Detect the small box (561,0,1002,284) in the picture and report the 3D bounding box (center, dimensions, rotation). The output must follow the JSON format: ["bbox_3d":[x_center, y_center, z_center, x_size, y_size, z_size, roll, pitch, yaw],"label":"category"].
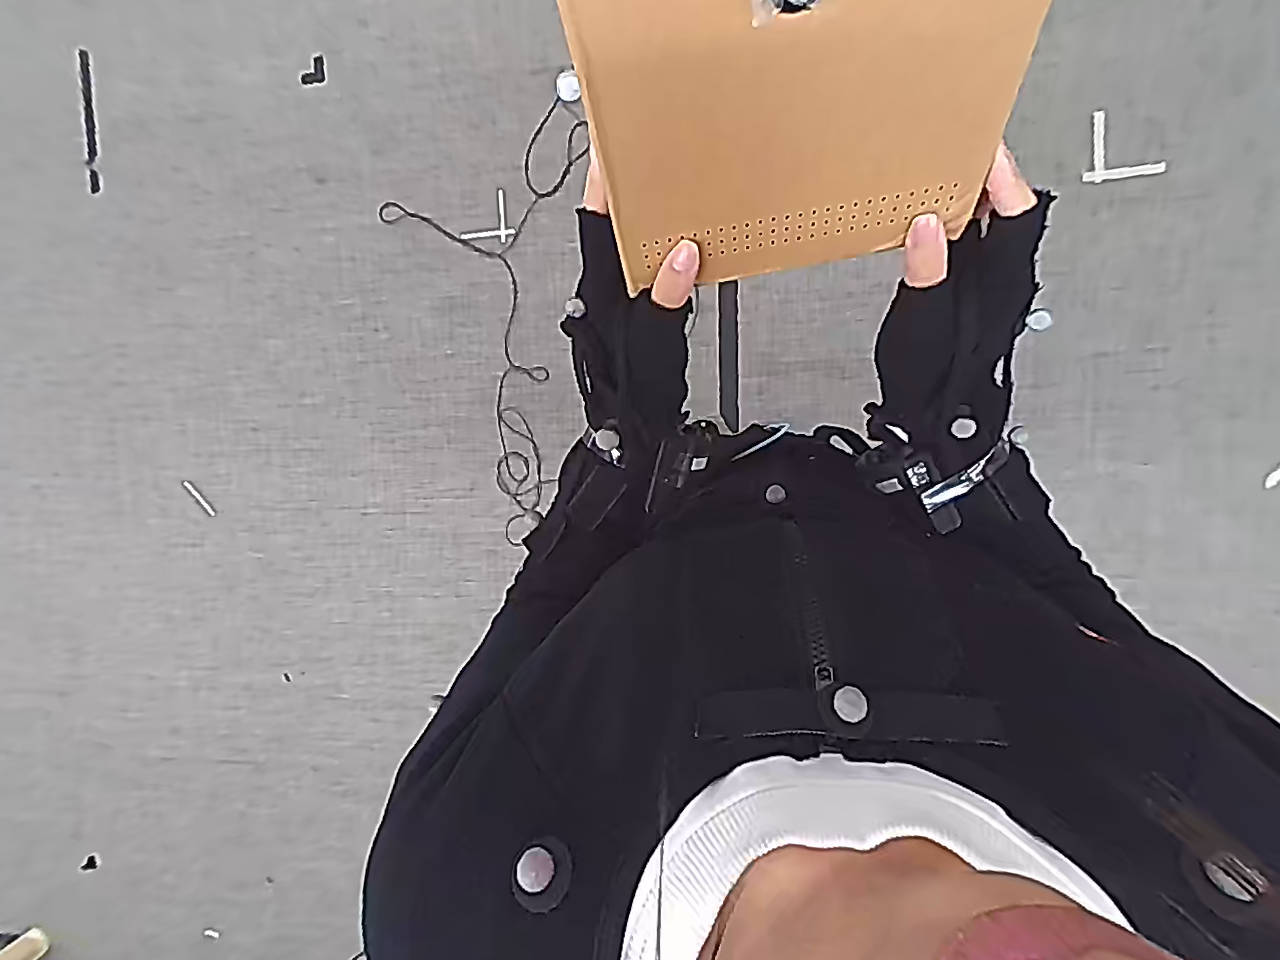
[{"bbox_3d":[0.062,-0.225,0.277,0.179,0.176,0.168,-7,59,8],"label":"small box"}]
